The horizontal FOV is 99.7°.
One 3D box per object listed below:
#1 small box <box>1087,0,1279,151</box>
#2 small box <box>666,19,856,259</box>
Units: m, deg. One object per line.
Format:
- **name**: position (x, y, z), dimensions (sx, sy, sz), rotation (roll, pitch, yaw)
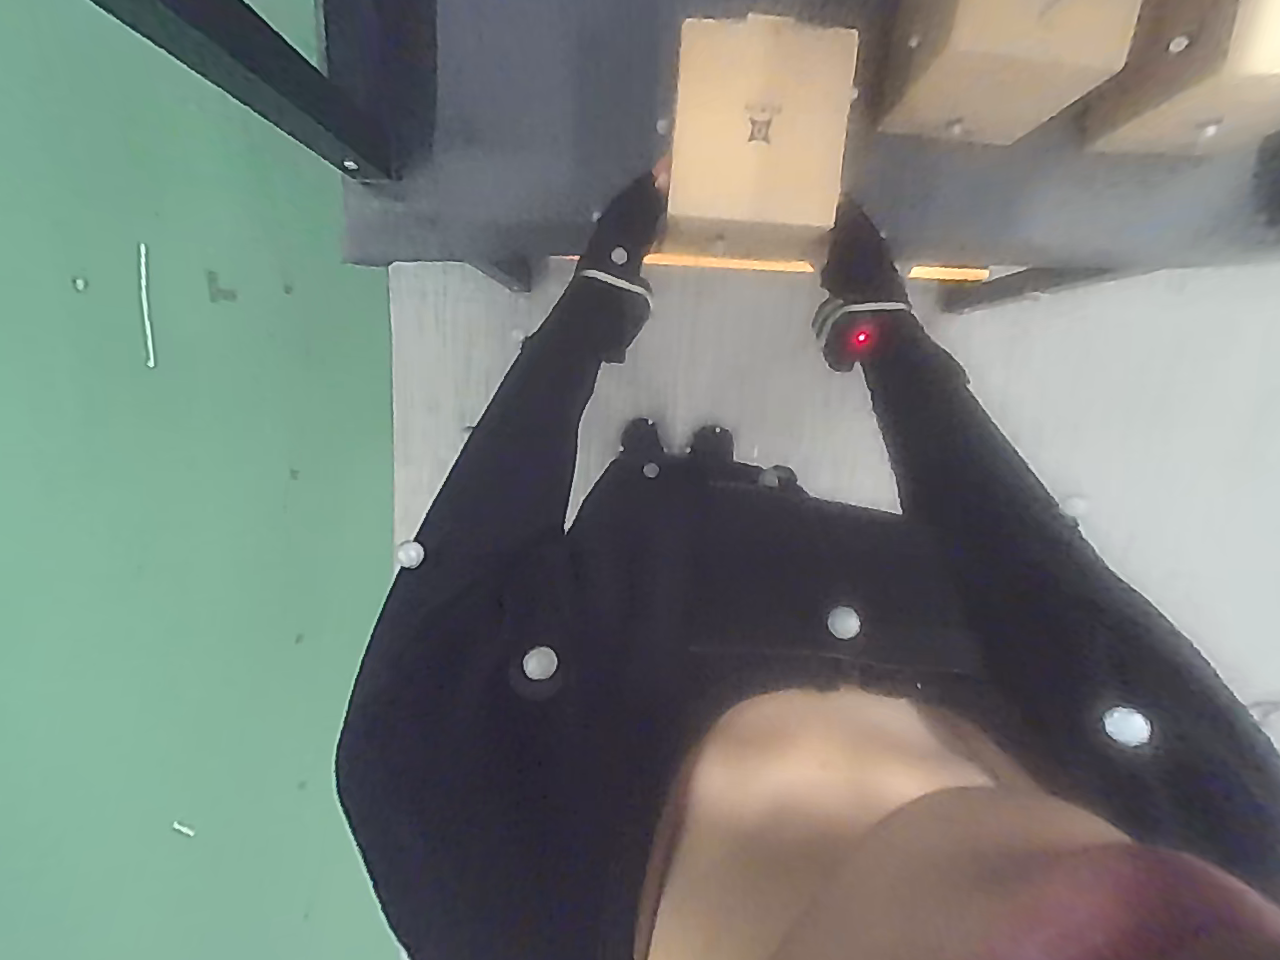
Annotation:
- **small box**: position (0.619, -0.470, 0.562), dimensions (0.168, 0.176, 0.179), rotation (3, 99, 1)
- **small box**: position (0.117, -0.355, 0.599), dimensions (0.168, 0.176, 0.179), rotation (4, 99, 1)
